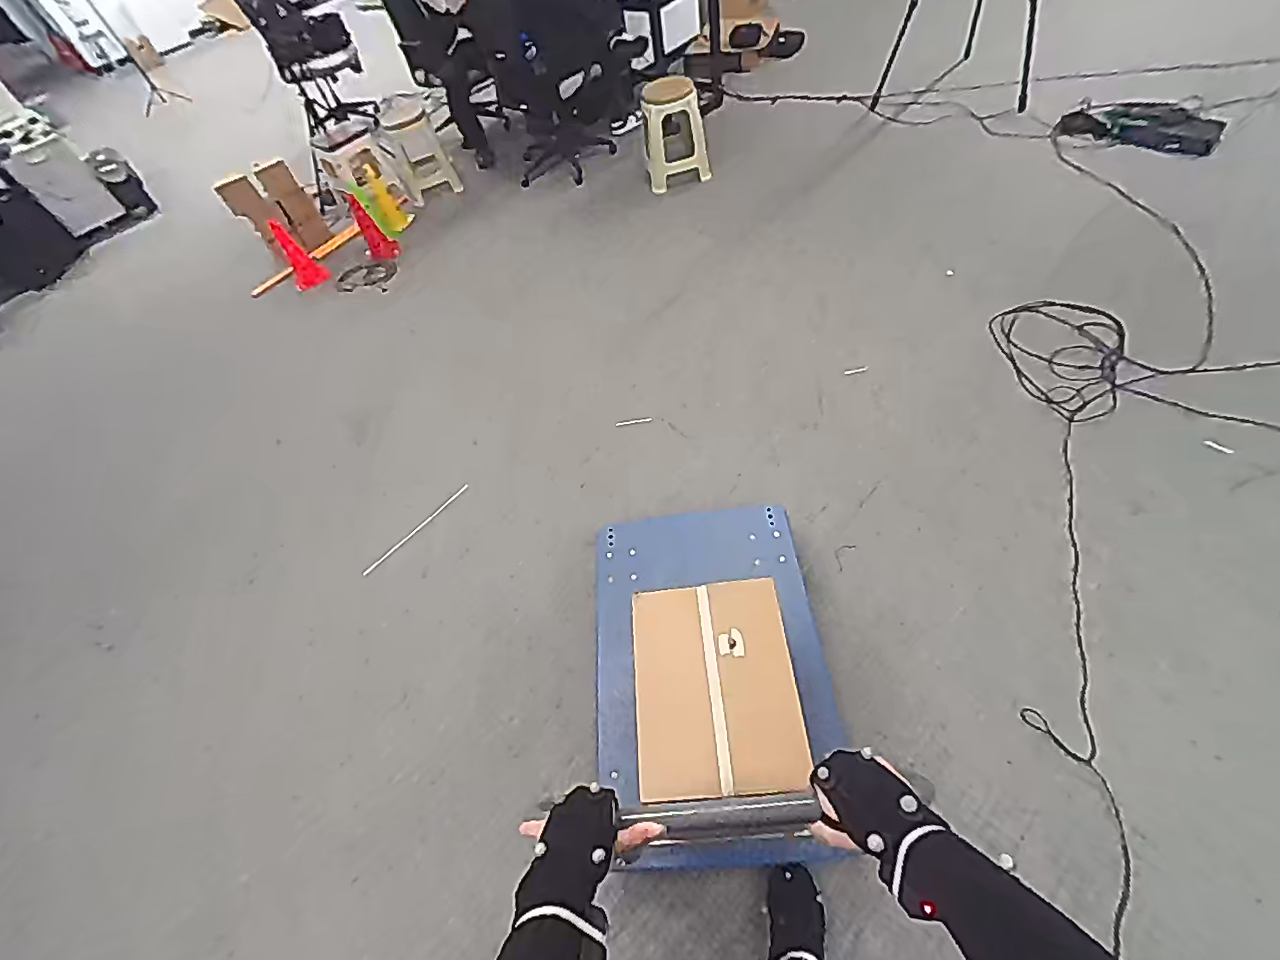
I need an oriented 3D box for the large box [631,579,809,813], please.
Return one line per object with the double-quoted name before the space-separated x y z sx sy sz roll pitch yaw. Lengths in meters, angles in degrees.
"large box" 0.166 0.485 1.206 0.320 0.320 0.408 -8 53 6
